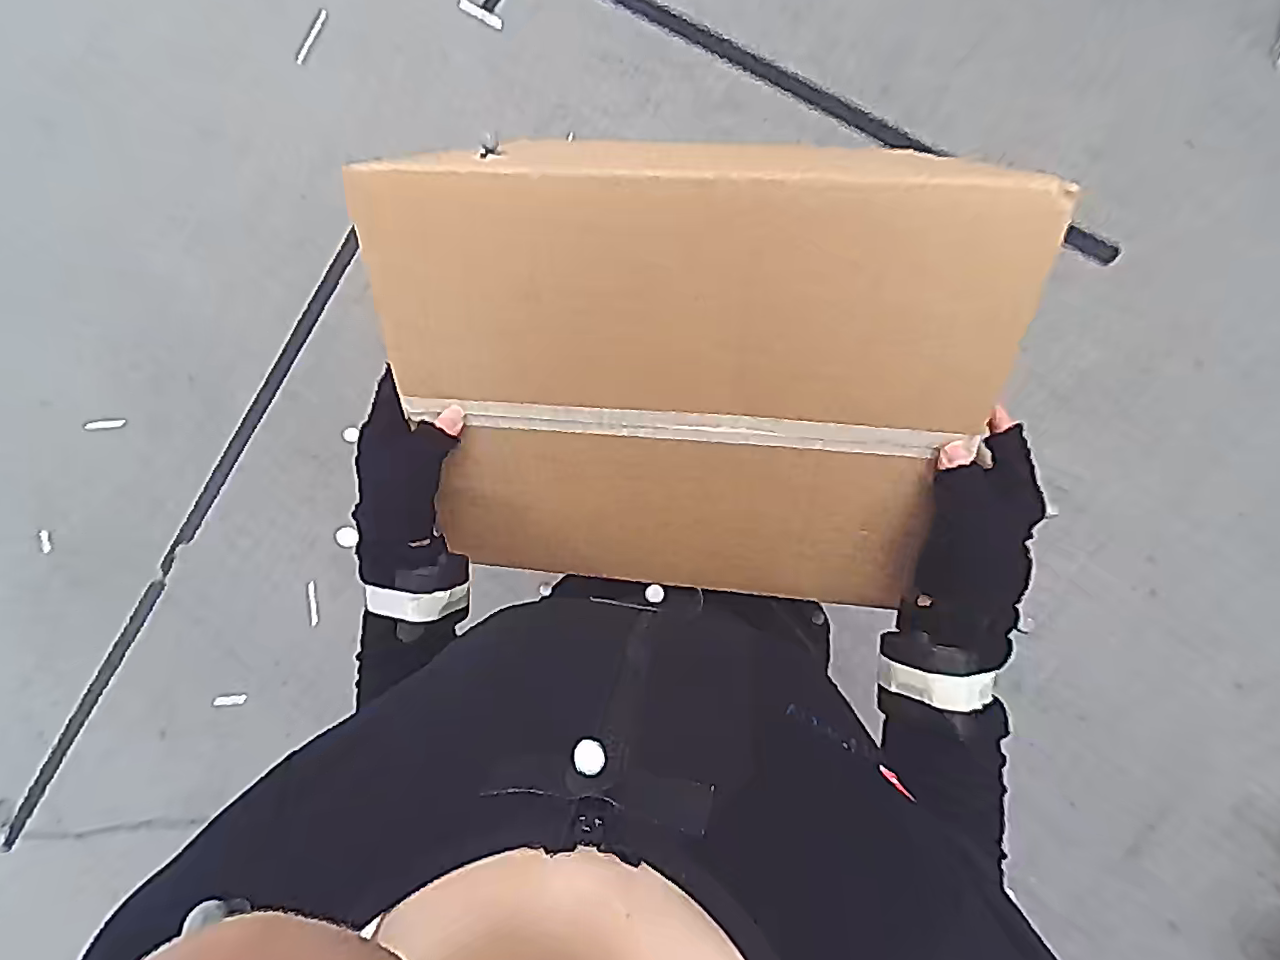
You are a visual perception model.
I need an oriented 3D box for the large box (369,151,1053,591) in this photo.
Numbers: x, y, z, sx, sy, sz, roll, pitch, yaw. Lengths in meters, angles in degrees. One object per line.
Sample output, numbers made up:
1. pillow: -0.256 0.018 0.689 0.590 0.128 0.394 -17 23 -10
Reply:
1. large box: 0.045 -0.130 0.515 0.408 0.320 0.320 5 125 7
